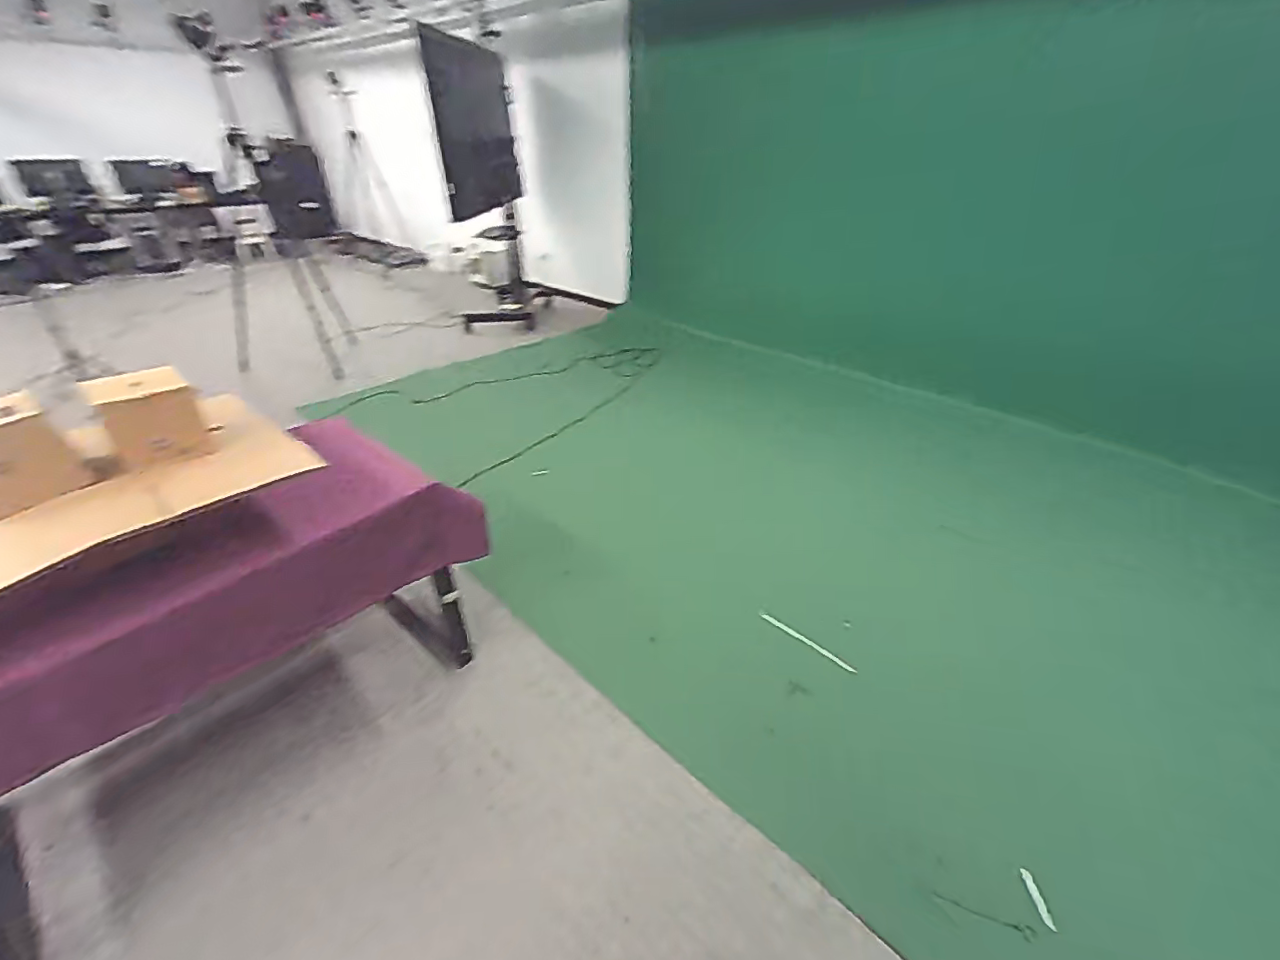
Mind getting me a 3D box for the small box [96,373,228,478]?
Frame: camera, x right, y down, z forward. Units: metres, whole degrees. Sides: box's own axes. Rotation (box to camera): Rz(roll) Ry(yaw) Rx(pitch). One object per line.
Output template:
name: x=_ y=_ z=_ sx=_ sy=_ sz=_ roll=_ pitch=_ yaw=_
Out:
small box: x=-1.084 y=-0.127 z=1.233 sx=0.179 sy=0.176 sz=0.168 roll=27 pitch=39 yaw=34
